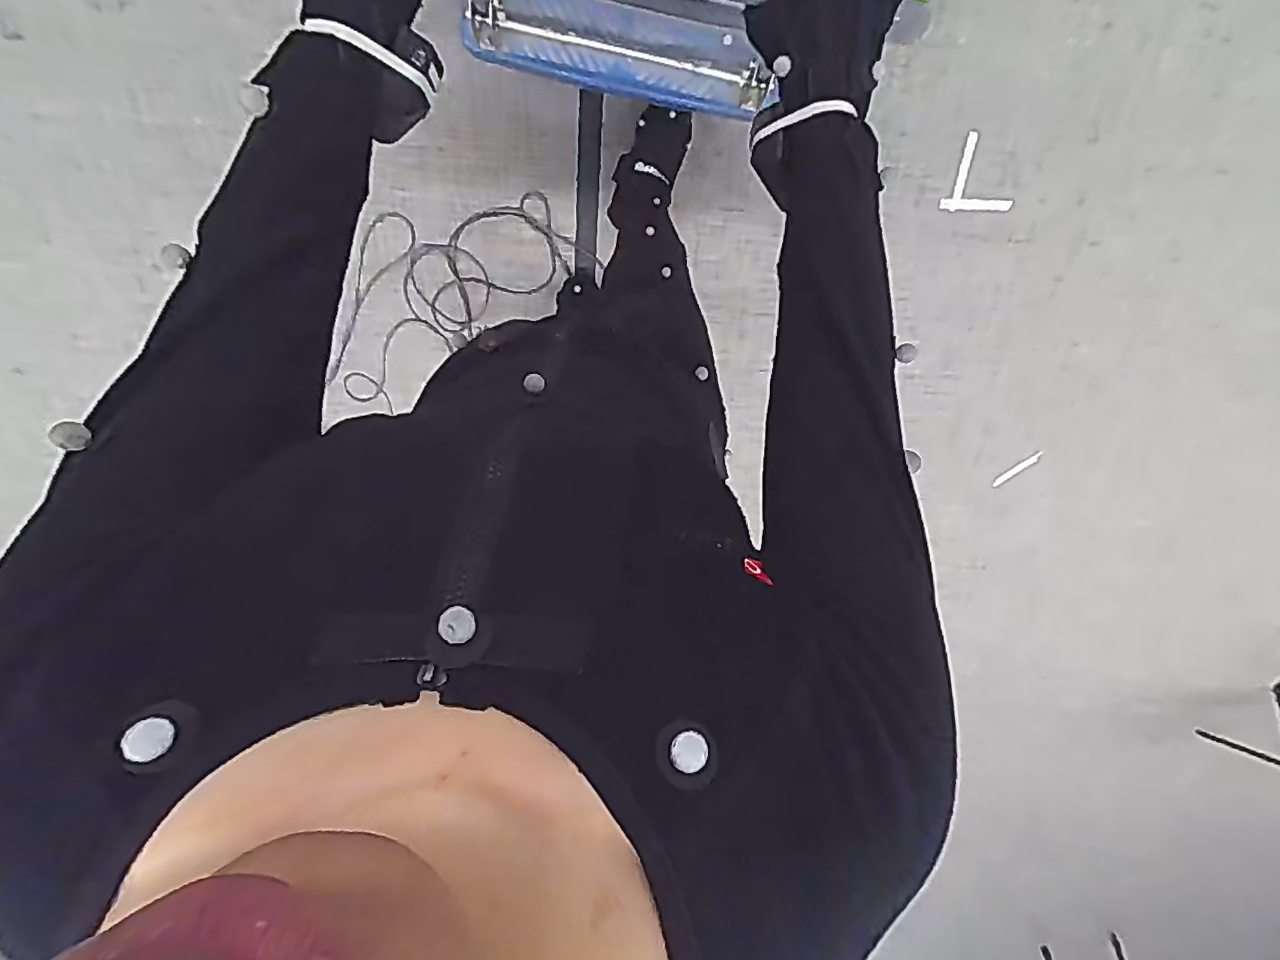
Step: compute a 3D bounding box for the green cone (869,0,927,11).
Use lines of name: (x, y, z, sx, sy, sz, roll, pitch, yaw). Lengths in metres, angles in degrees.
green cone: (0.506, -0.965, 0.891, 0.202, 0.368, 0.200, 5, 118, -8)
